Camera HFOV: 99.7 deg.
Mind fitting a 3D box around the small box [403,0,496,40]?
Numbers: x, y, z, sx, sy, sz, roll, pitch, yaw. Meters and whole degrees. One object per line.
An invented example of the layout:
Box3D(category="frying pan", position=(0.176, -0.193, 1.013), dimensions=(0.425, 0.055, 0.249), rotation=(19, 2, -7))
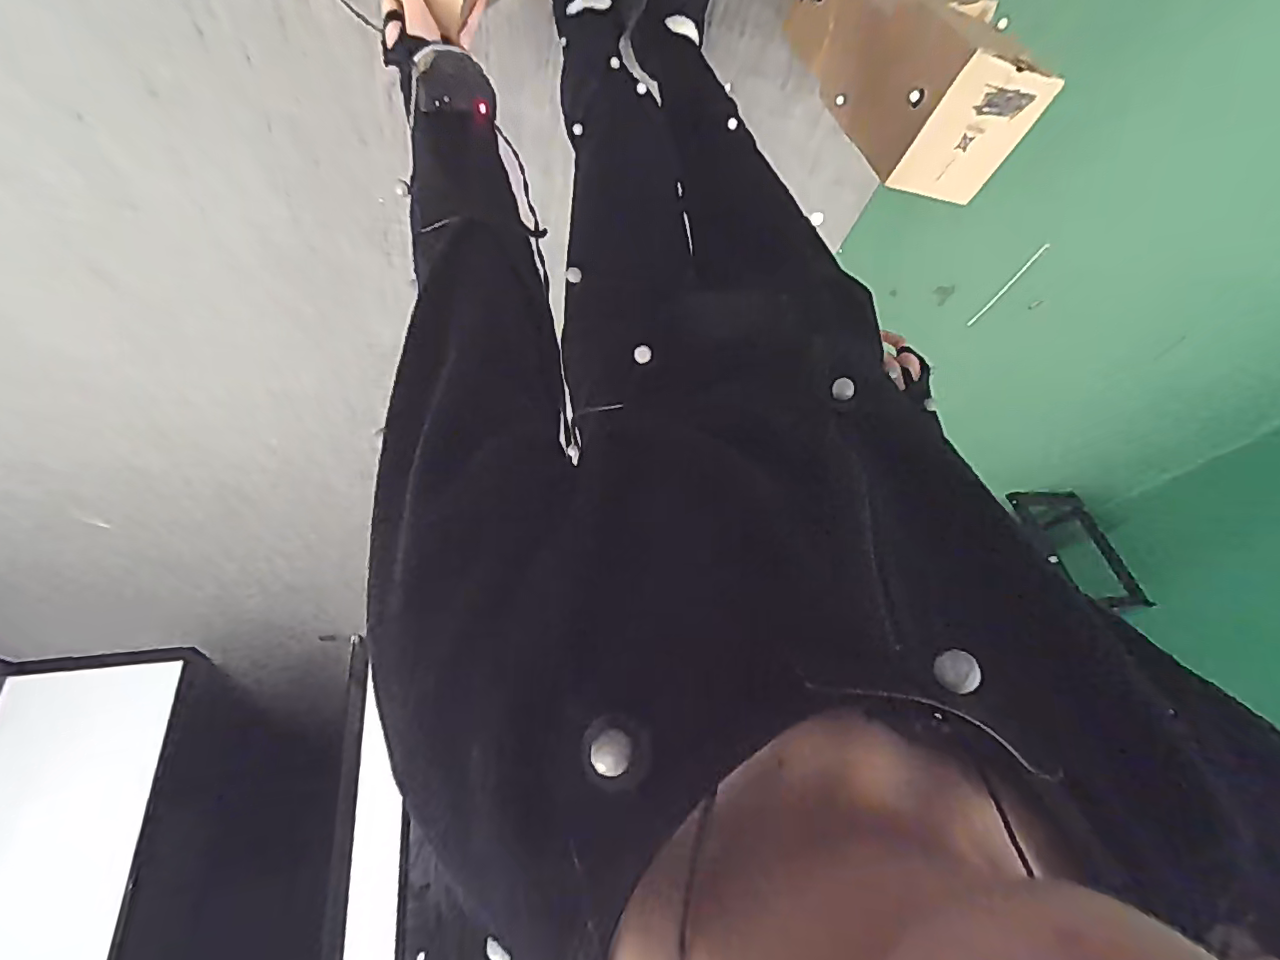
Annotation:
Box3D(category="small box", position=(-0.178, -0.550, 0.465), dimensions=(0.179, 0.176, 0.168), rotation=(31, 146, -19))

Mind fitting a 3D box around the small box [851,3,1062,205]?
Box3D(category="small box", position=(0.443, -0.545, 0.791), dimensions=(0.168, 0.176, 0.179), rotation=(1, 148, -20))

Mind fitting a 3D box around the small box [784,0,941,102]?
Box3D(category="small box", position=(0.386, -0.818, 0.966), dimensions=(0.179, 0.176, 0.168), rotation=(7, 145, -26))
